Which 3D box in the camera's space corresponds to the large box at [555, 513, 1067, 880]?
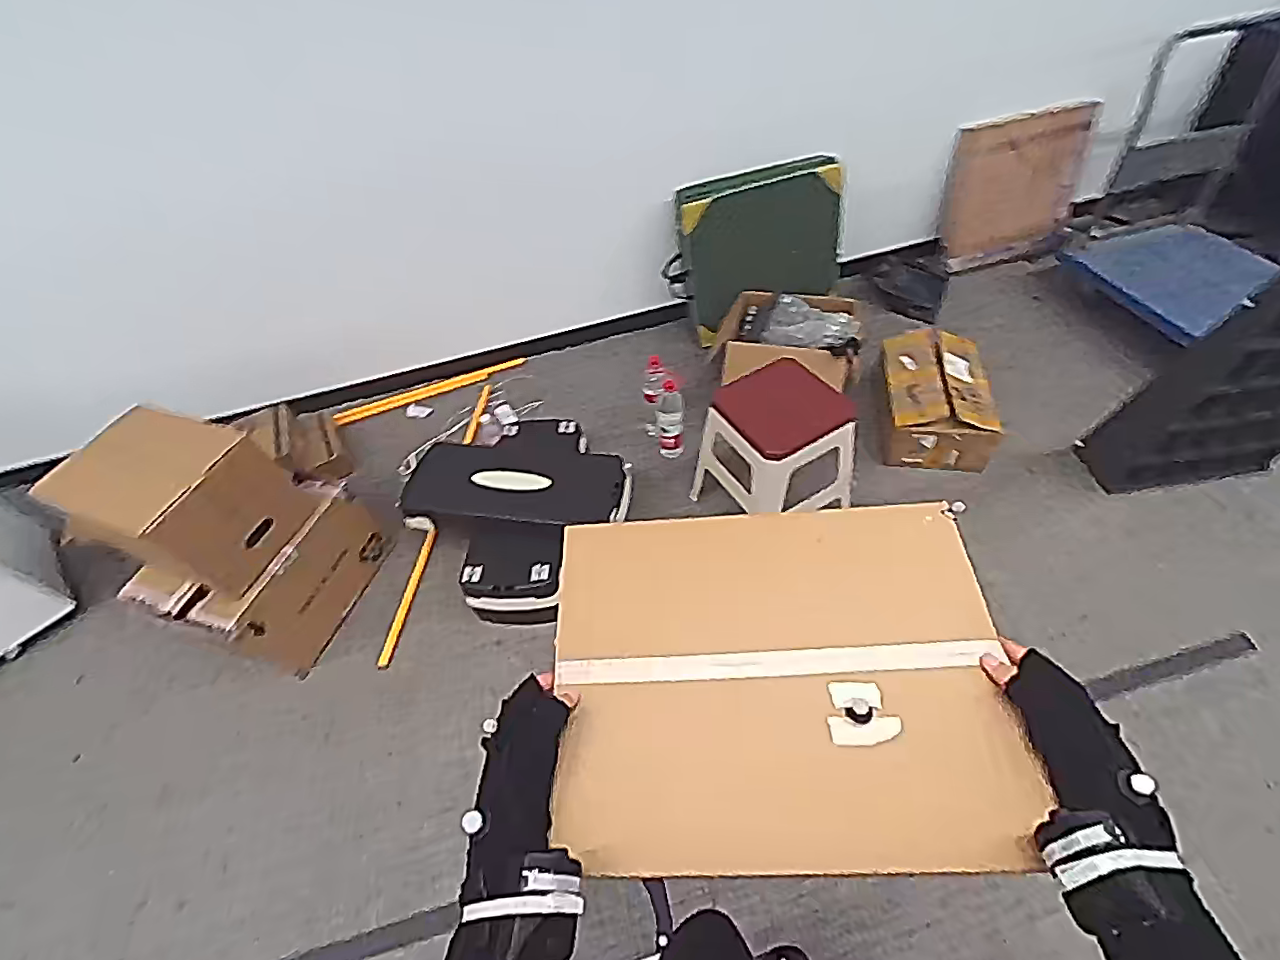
[{"bbox_3d":[0.138,0.258,0.625,0.408,0.320,0.320,-3,57,5],"label":"large box"}]
